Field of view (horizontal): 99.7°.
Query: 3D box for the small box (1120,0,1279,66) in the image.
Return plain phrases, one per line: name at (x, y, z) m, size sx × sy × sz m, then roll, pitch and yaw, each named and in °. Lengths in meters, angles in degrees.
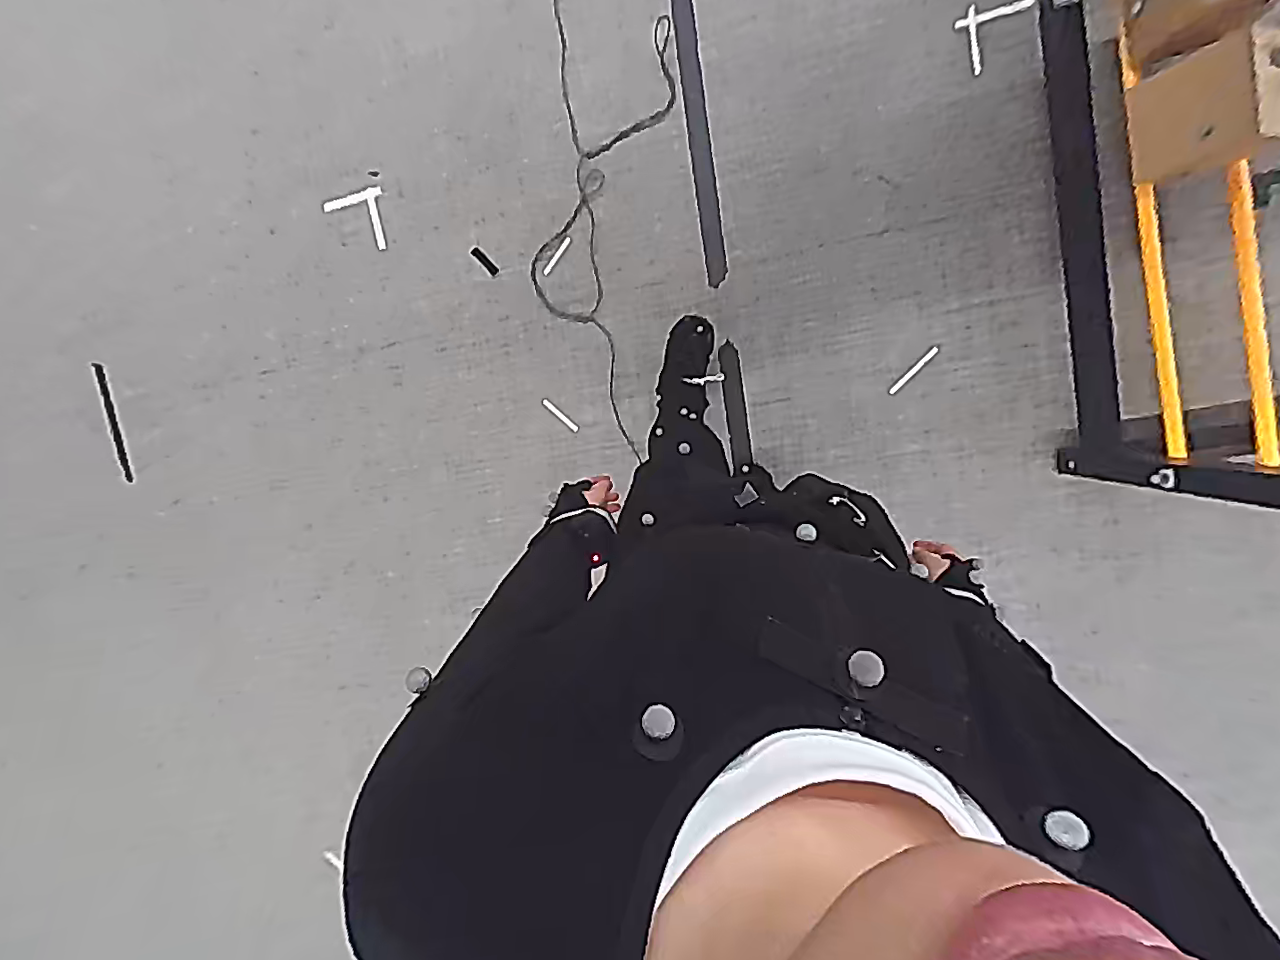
small box at (0.983, -0.867, 0.928) m, size 0.179 × 0.176 × 0.168 m, roll -12°, pitch 94°, yaw 12°
